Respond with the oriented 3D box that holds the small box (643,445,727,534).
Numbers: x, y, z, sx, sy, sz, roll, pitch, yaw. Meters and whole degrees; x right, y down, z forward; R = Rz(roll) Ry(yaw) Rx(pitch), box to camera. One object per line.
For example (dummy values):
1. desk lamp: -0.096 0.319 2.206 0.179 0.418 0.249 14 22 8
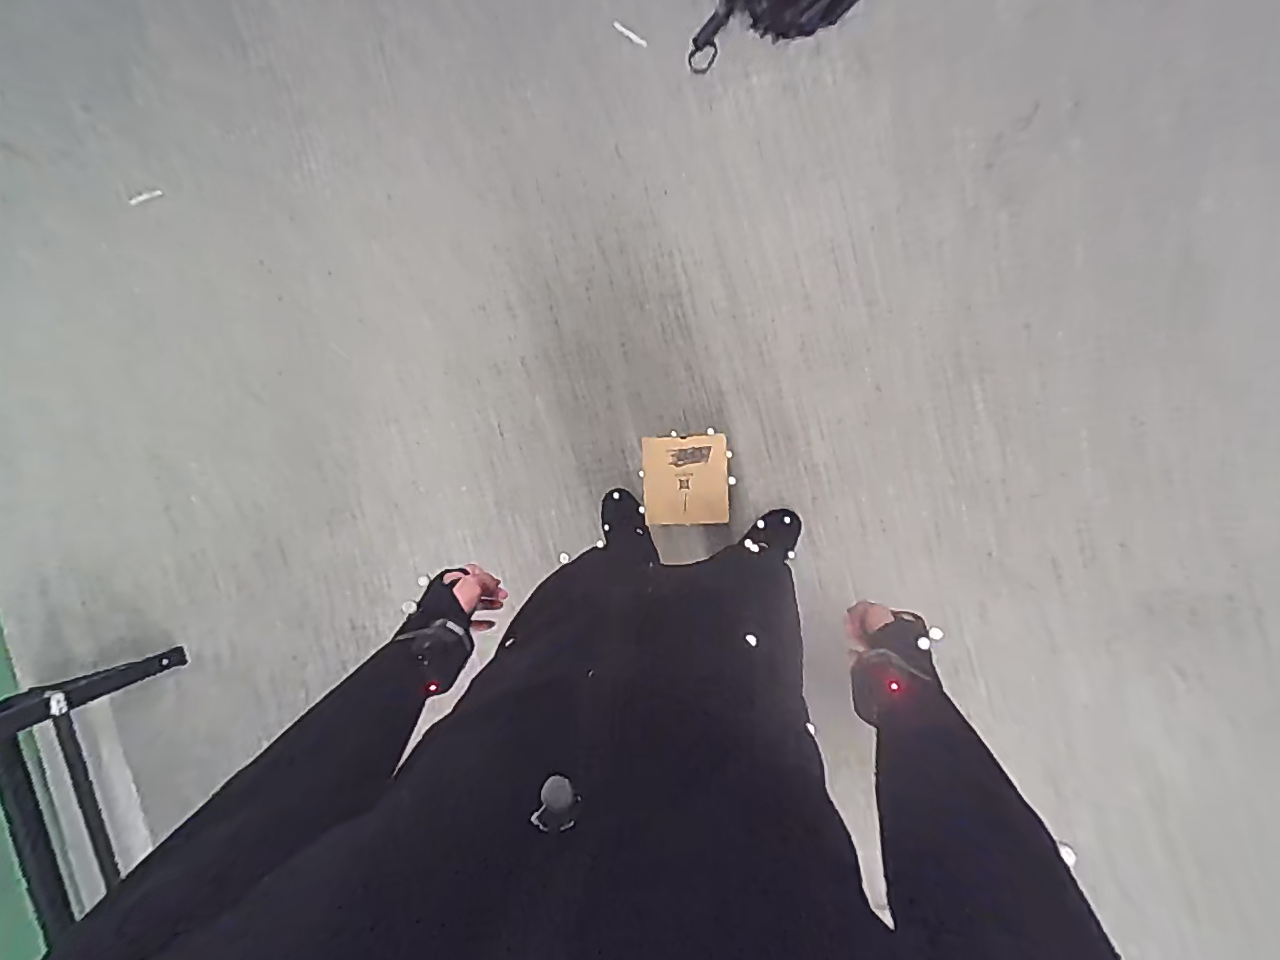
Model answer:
1. small box: 0.098 0.016 1.141 0.168 0.176 0.179 -1 93 9
